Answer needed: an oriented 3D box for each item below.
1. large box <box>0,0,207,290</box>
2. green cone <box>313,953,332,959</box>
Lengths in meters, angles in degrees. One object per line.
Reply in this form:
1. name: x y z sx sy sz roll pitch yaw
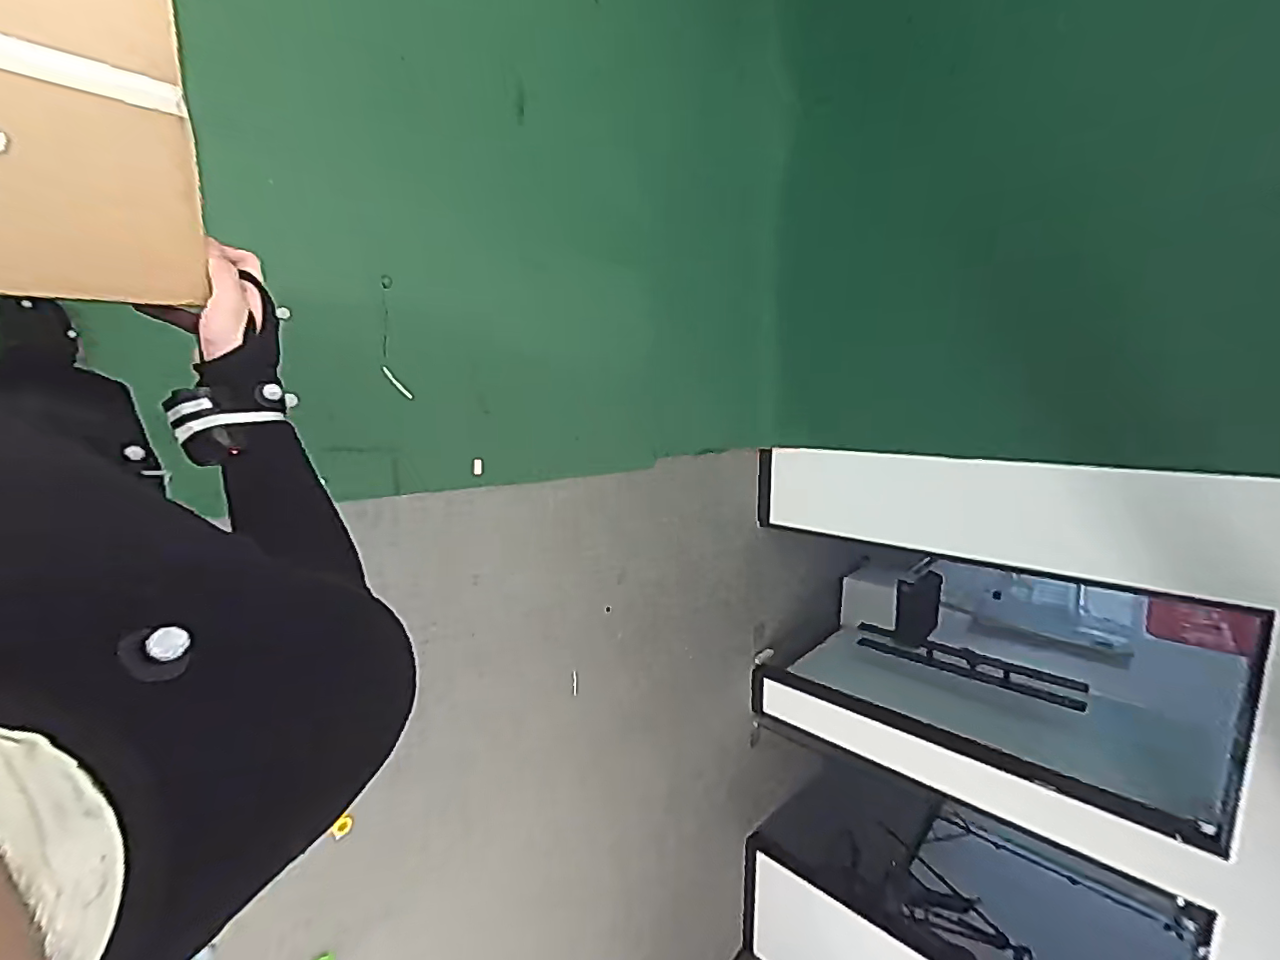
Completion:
1. large box: -0.613 -0.314 0.373 0.408 0.320 0.320 -16 118 -50
2. green cone: -0.893 1.553 1.476 0.200 0.368 0.202 1 94 -48
